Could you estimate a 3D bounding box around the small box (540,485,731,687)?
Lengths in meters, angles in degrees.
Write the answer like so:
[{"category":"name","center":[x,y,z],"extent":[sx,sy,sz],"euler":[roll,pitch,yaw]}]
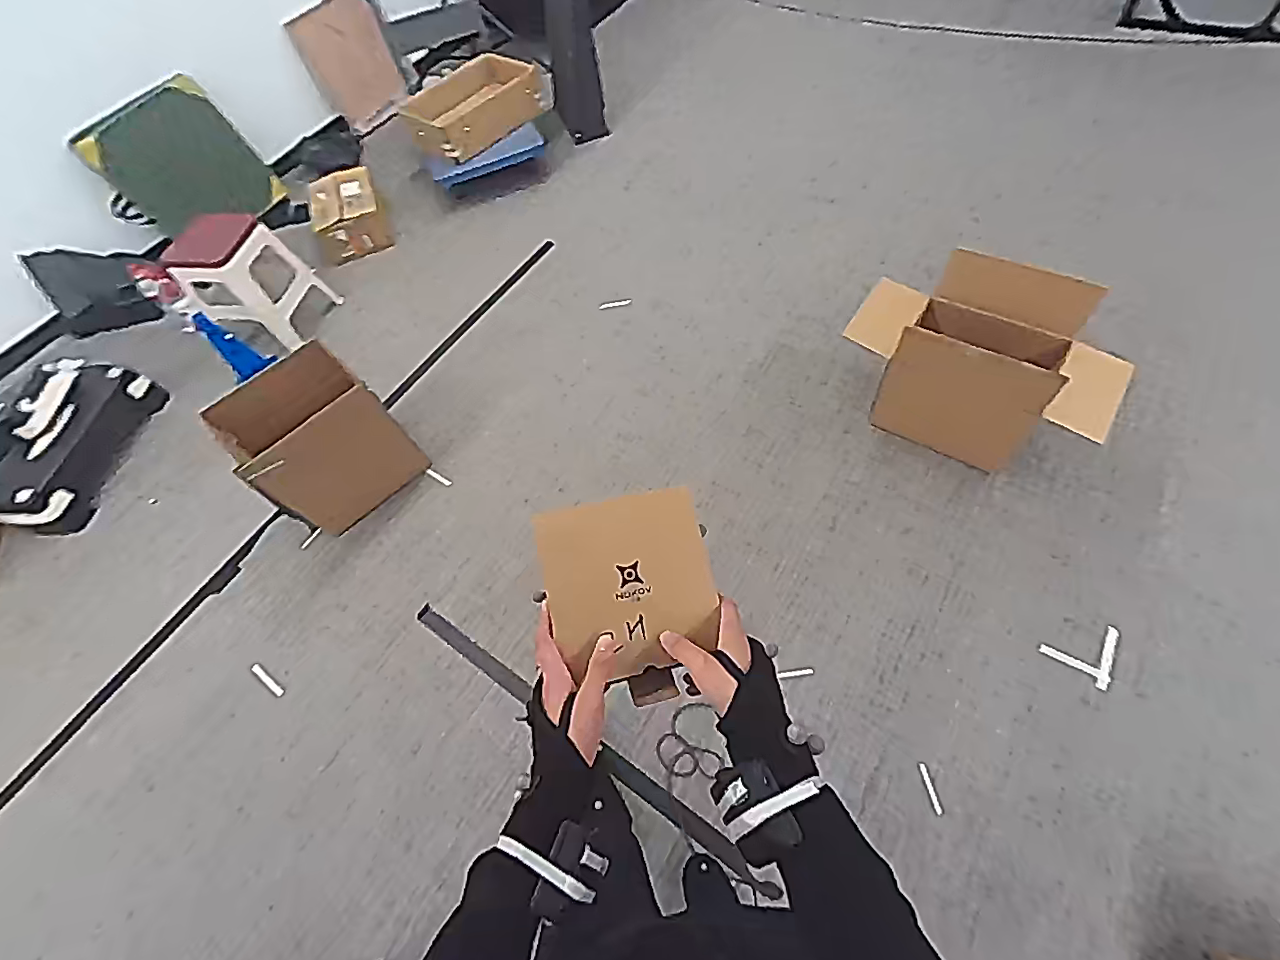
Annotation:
[{"category":"small box","center":[-0.016,0.122,0.608],"extent":[0.168,0.176,0.179],"euler":[-10,75,-9]}]
